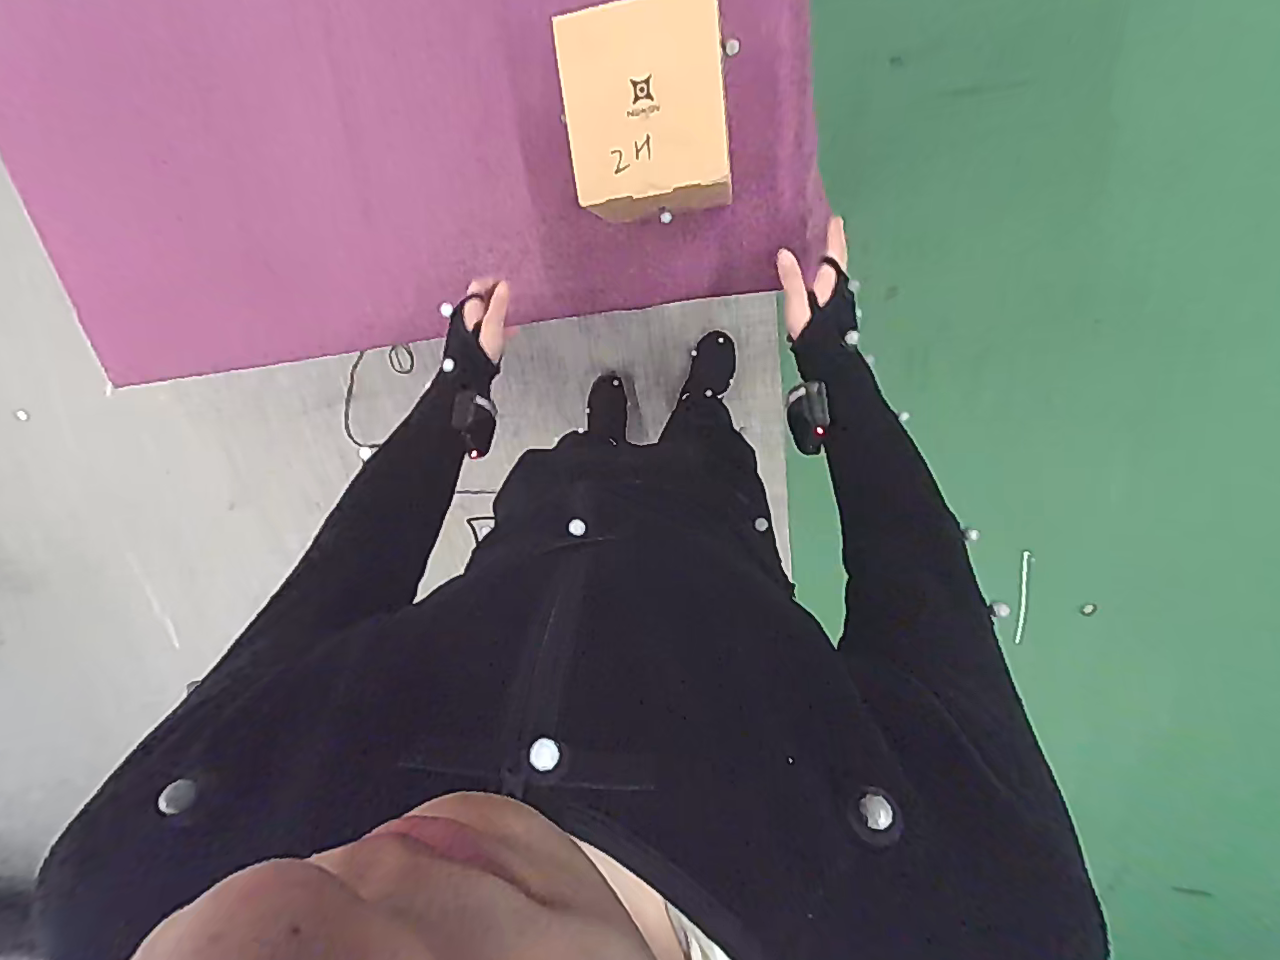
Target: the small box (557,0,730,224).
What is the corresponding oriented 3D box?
[{"bbox_3d":[0.017,-0.411,0.628,0.168,0.176,0.179,-3,109,12],"label":"small box"}]
